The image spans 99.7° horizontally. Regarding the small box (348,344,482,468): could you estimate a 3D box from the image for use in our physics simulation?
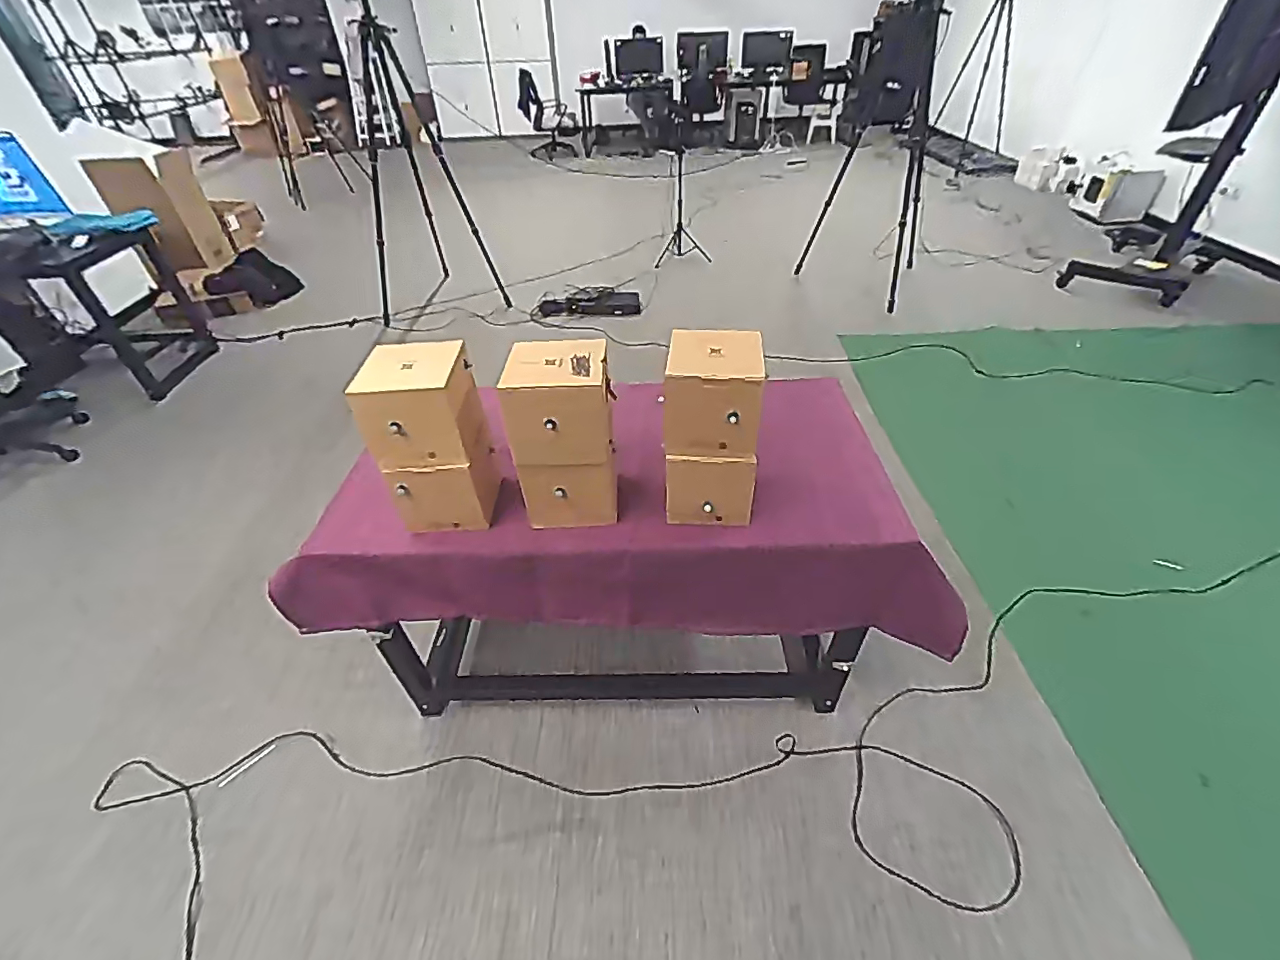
[{"bbox_3d":[-0.403,-0.133,1.006,0.168,0.176,0.179,-4,39,-1],"label":"small box"}]

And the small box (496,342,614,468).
[{"bbox_3d":[-0.143,-0.136,0.987,0.179,0.176,0.168,-2,40,3],"label":"small box"}]

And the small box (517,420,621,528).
[{"bbox_3d":[-0.136,-0.015,1.099,0.179,0.176,0.168,-3,41,2],"label":"small box"}]

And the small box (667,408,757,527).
[{"bbox_3d":[0.141,-0.027,1.089,0.168,0.176,0.179,1,41,6],"label":"small box"}]
